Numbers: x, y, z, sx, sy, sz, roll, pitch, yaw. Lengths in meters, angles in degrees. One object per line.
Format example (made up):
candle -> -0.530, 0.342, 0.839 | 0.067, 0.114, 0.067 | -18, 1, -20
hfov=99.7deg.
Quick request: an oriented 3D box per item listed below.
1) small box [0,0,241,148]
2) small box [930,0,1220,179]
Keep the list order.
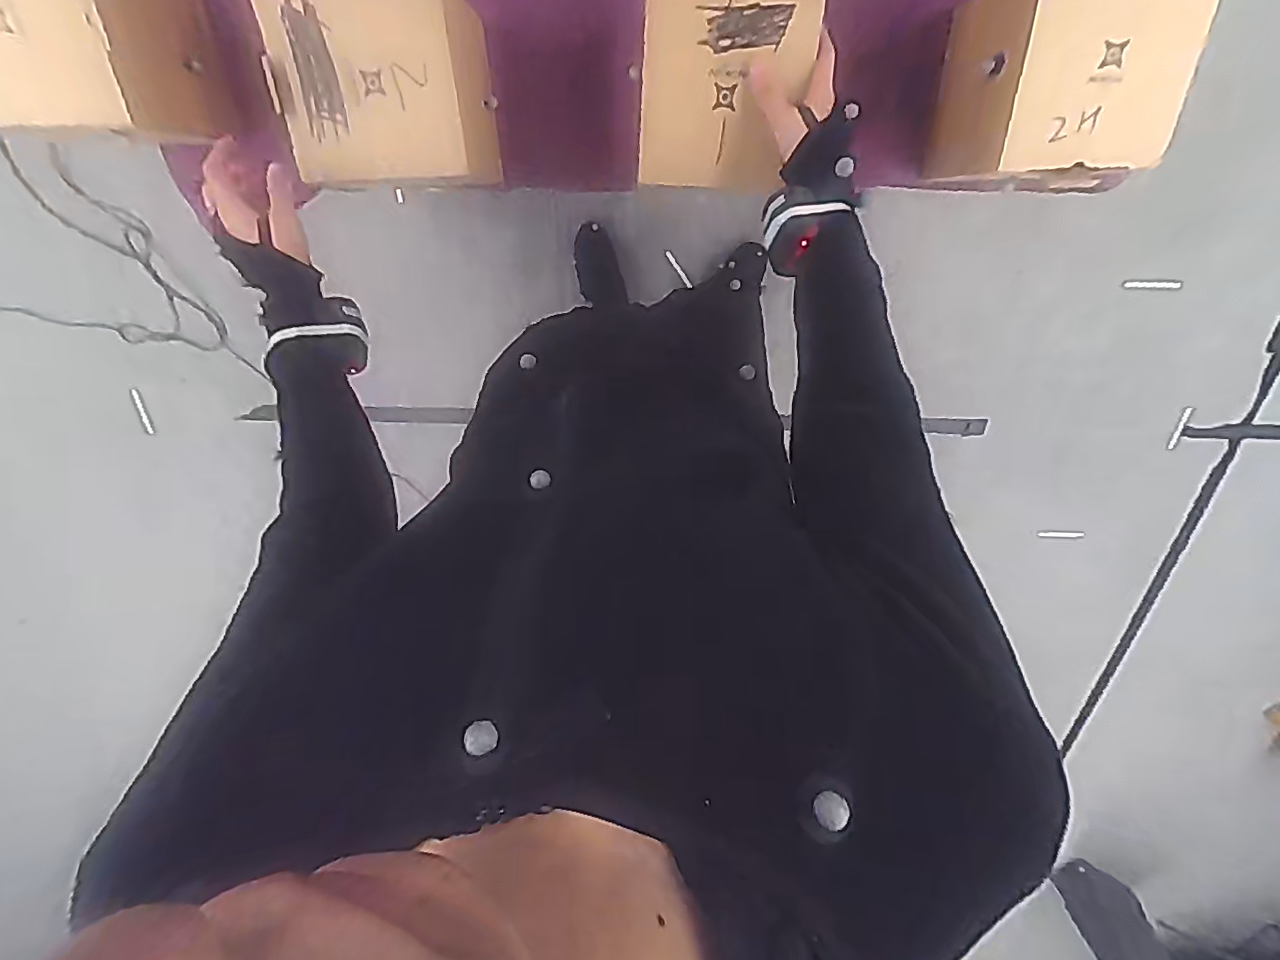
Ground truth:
small box -> -0.579, -0.454, 0.569 | 0.179, 0.176, 0.168 | -1, 117, -1
small box -> 0.444, -0.431, 0.583 | 0.168, 0.176, 0.179 | -1, 117, 1
